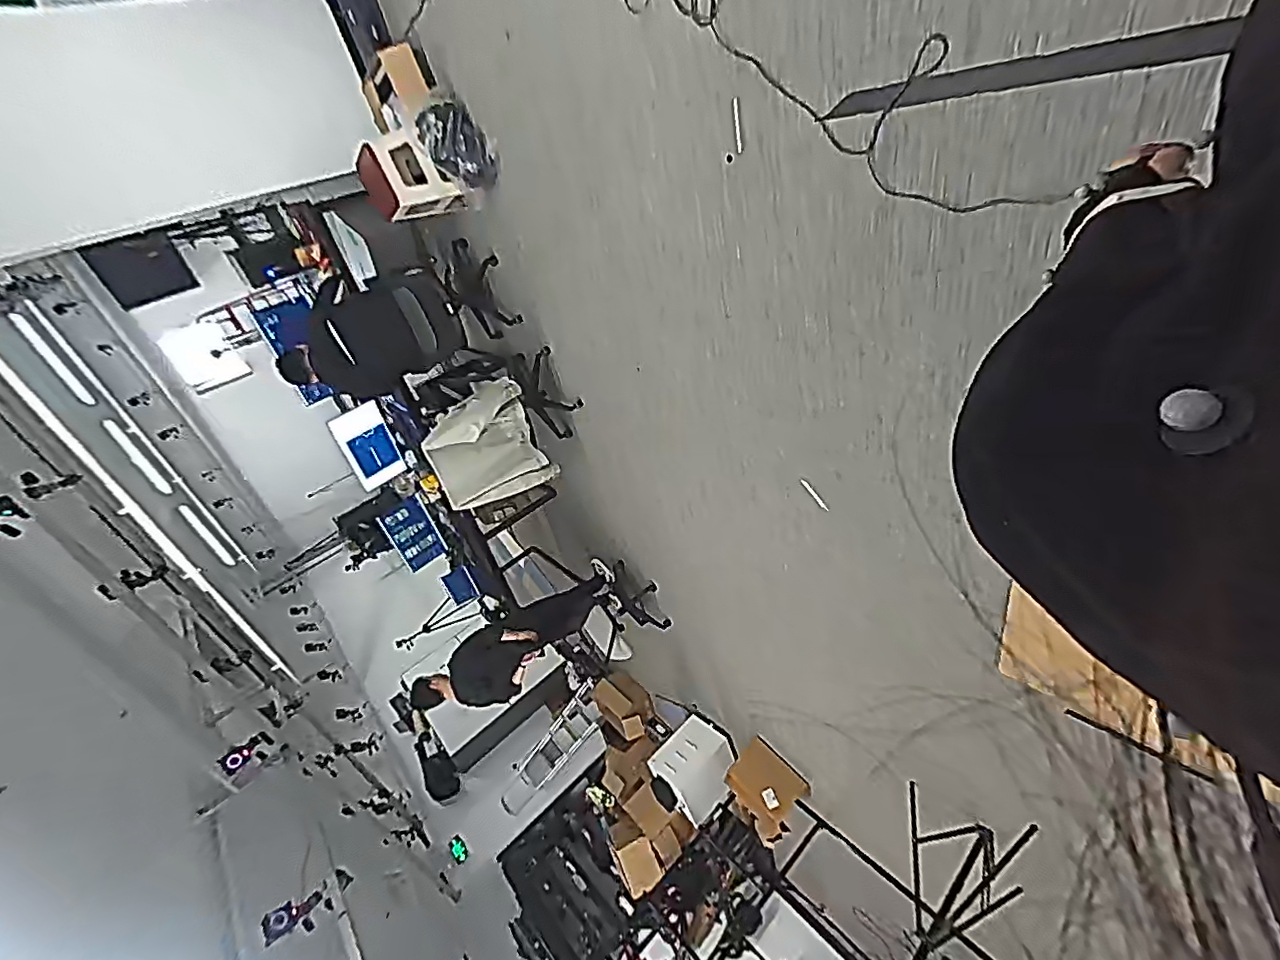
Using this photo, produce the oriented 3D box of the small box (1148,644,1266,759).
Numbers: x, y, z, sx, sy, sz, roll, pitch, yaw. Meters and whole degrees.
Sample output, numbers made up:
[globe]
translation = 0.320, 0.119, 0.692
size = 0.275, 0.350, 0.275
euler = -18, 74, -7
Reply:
[small box]
translation = 1.449, 0.558, 1.383
size = 0.168, 0.176, 0.179
euler = 22, 138, 47
